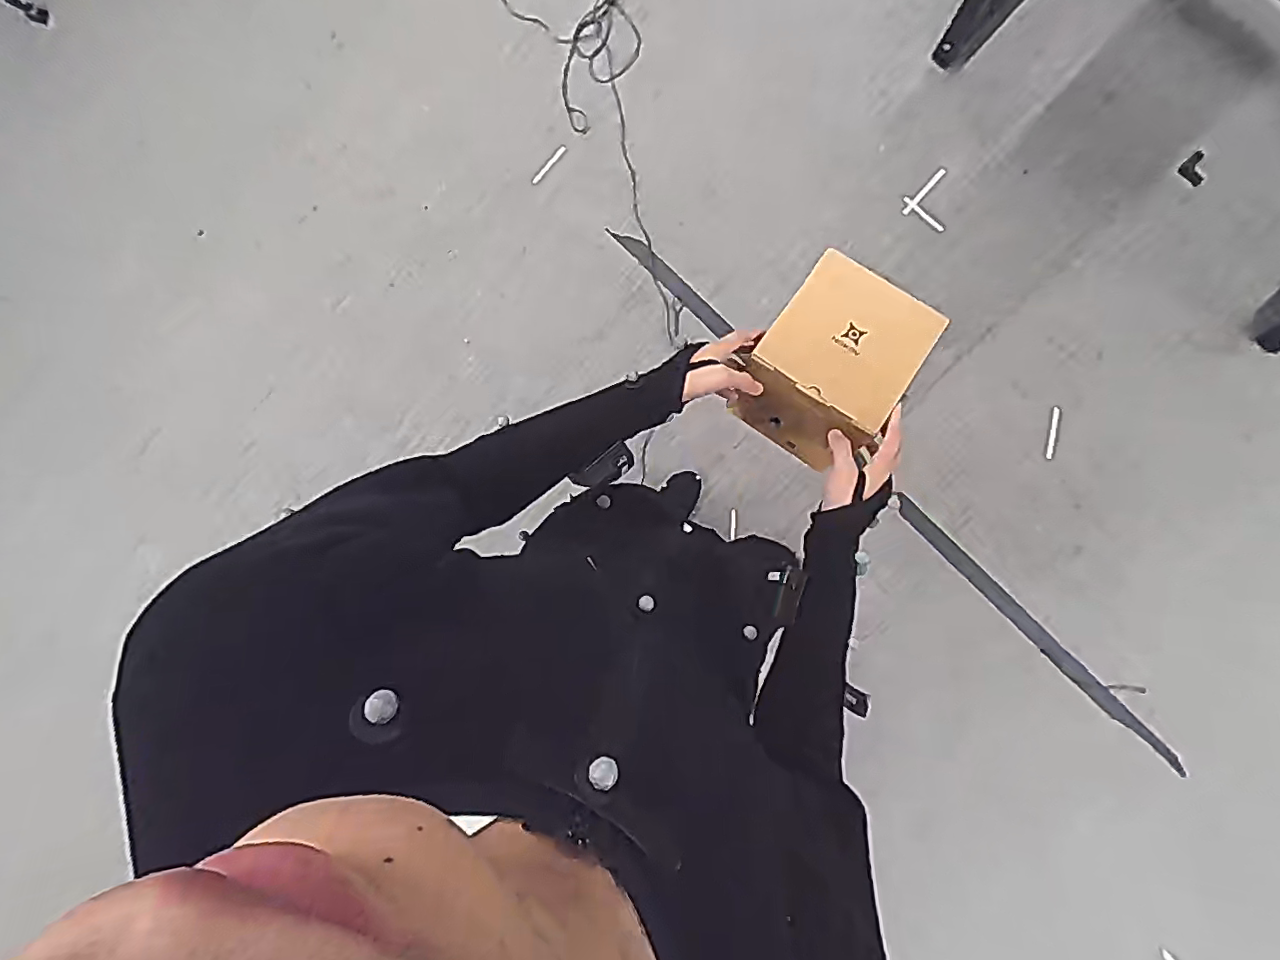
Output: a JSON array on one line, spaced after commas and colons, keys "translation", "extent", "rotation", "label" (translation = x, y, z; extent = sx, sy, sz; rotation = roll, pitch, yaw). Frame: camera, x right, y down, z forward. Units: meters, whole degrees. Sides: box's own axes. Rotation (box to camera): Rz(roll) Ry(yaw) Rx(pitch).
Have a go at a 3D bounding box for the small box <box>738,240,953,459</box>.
[{"translation": [0.244, -0.154, 0.690], "extent": [0.168, 0.176, 0.179], "rotation": [34, 79, 6], "label": "small box"}]
